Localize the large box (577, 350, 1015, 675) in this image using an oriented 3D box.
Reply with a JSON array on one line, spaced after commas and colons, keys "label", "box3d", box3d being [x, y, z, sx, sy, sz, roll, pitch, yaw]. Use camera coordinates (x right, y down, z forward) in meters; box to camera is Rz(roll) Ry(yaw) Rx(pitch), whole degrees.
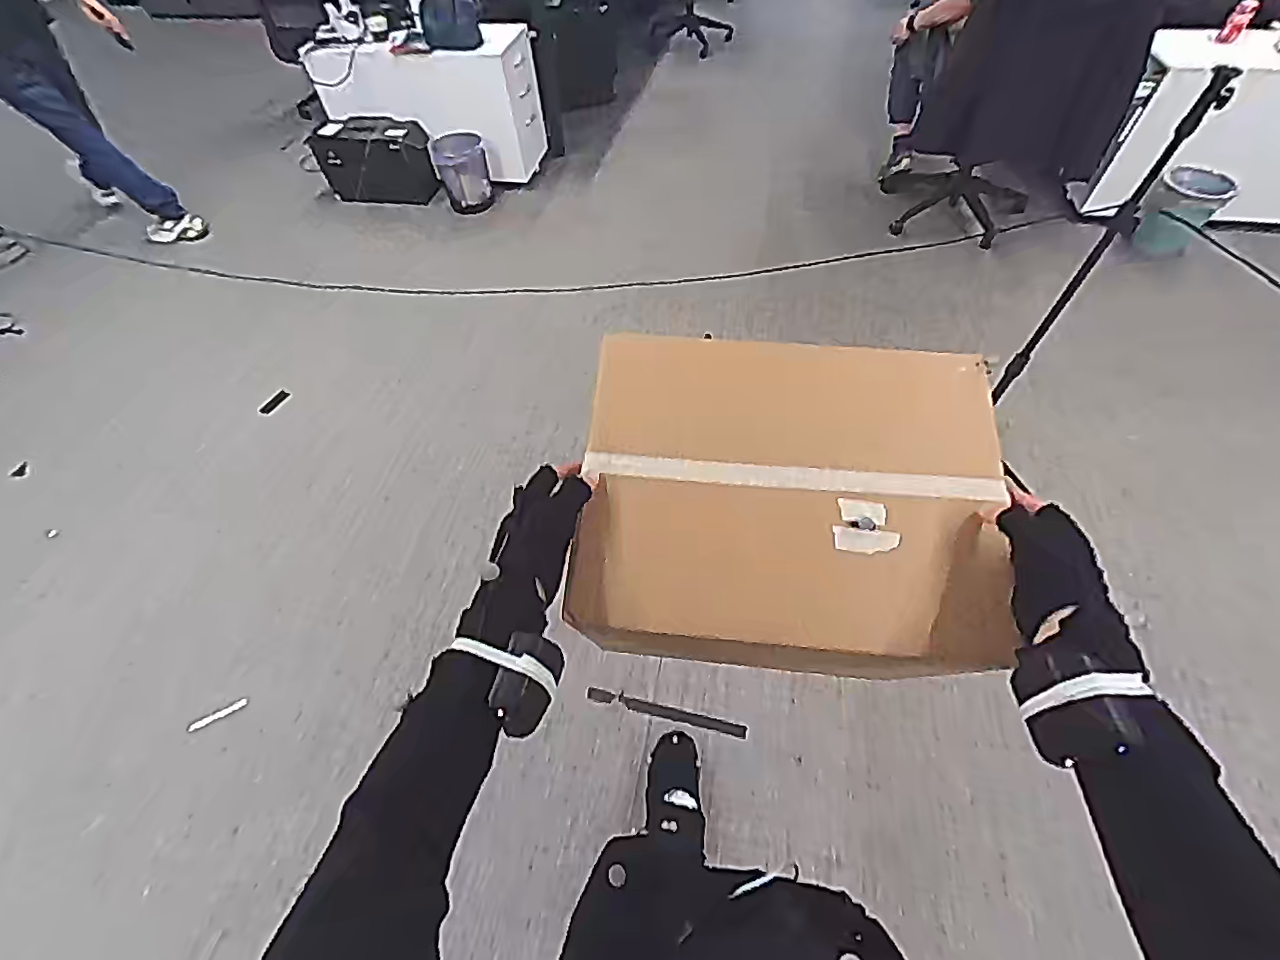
[{"label": "large box", "box3d": [0.153, 0.061, 0.683, 0.408, 0.320, 0.320, 4, 68, 4]}]
